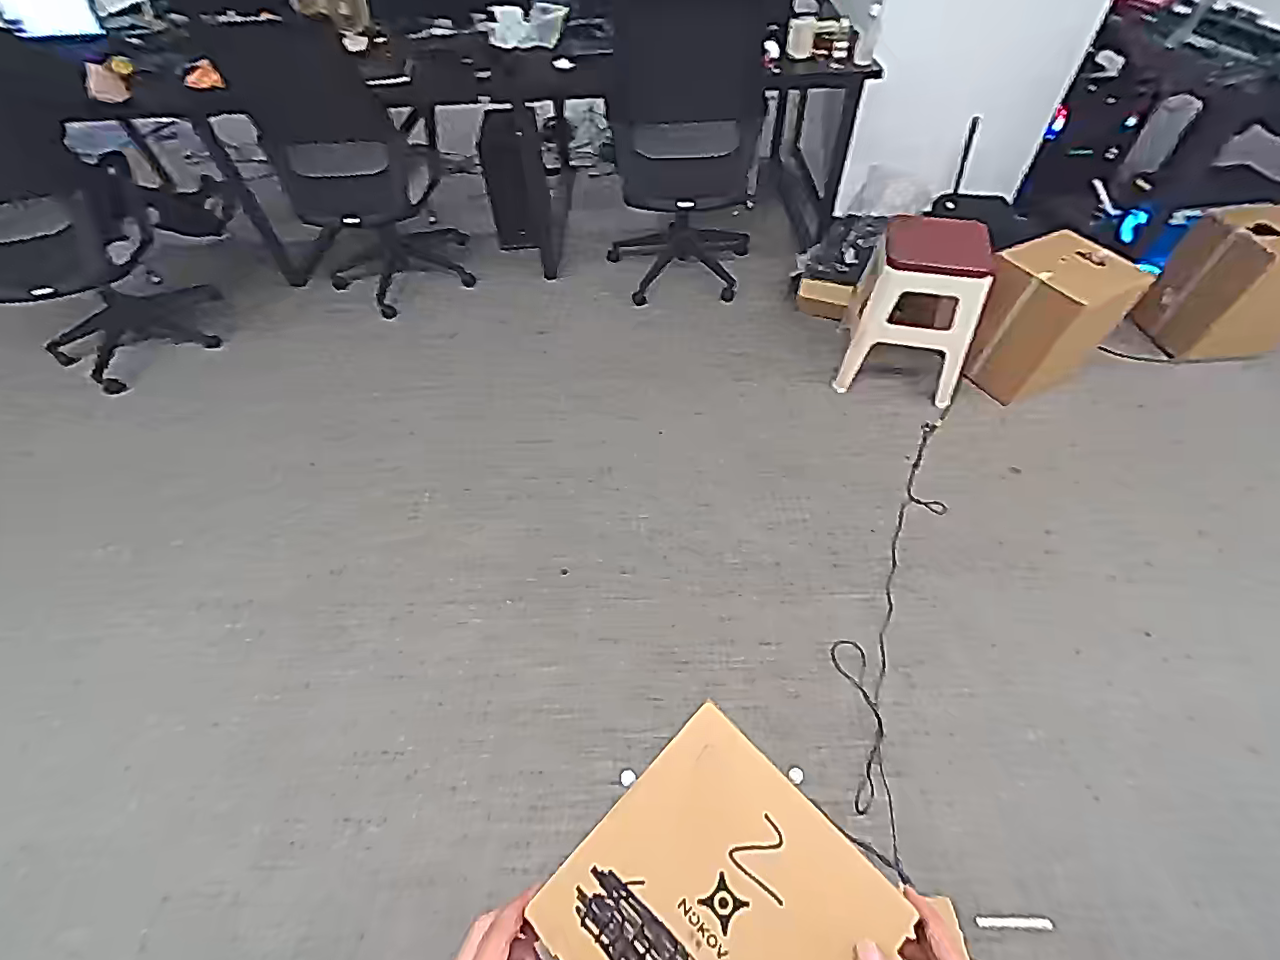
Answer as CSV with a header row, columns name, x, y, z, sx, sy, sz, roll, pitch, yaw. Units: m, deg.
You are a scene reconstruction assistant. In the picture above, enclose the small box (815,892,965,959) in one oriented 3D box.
name,x,y,z,sx,sy,sz,roll,pitch,yaw
small box,0.374,0.729,0.807,0.168,0.176,0.179,-3,53,1
